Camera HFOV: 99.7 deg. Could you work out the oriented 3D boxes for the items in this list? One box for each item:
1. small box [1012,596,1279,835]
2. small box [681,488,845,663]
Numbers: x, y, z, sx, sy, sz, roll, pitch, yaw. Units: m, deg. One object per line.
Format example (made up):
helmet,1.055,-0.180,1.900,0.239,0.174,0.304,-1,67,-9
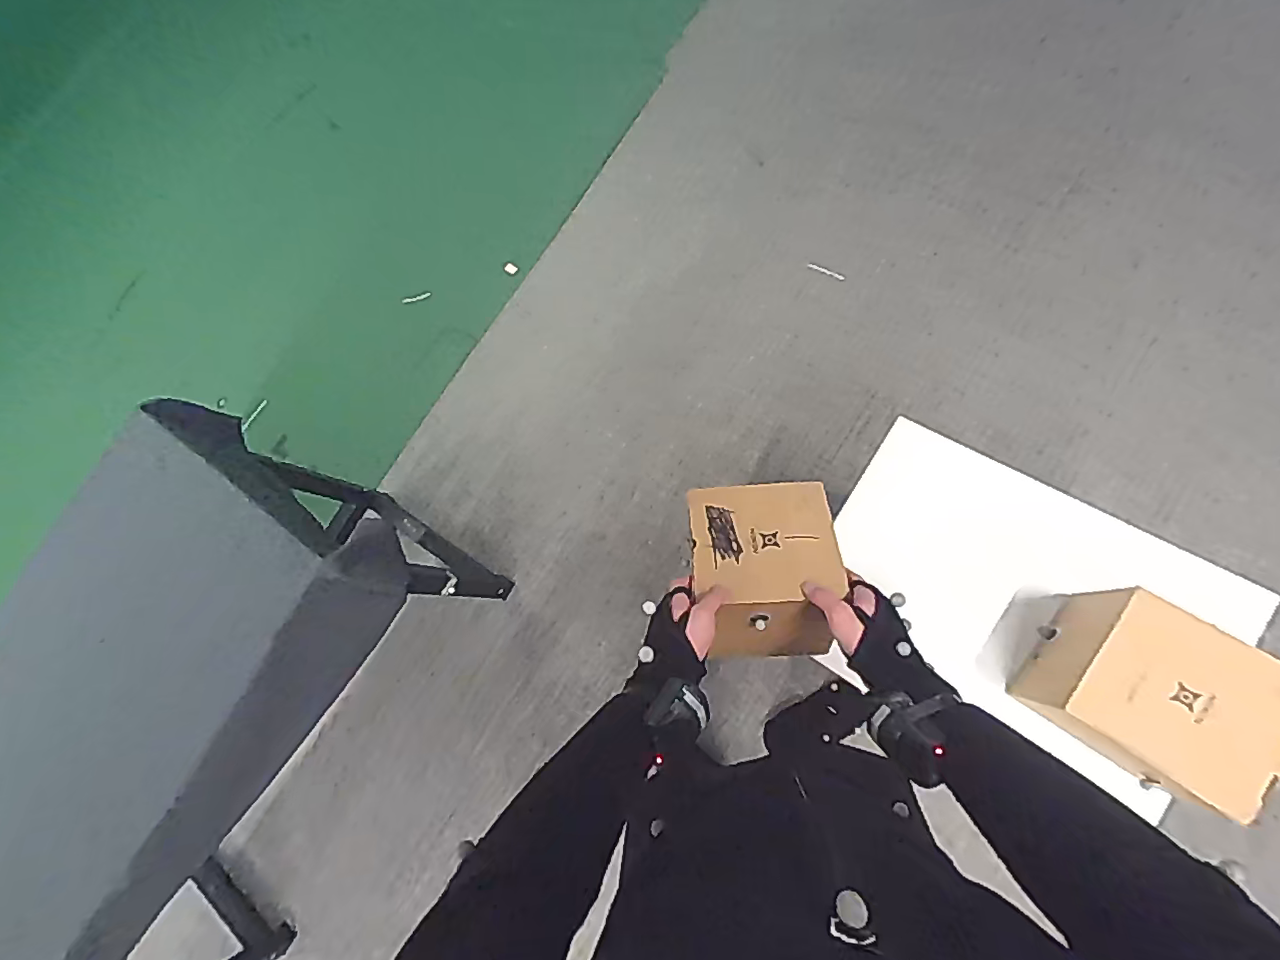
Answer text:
small box,0.586,0.254,0.627,0.179,0.176,0.168,33,85,22
small box,0.148,0.129,0.703,0.179,0.176,0.168,-4,51,5
